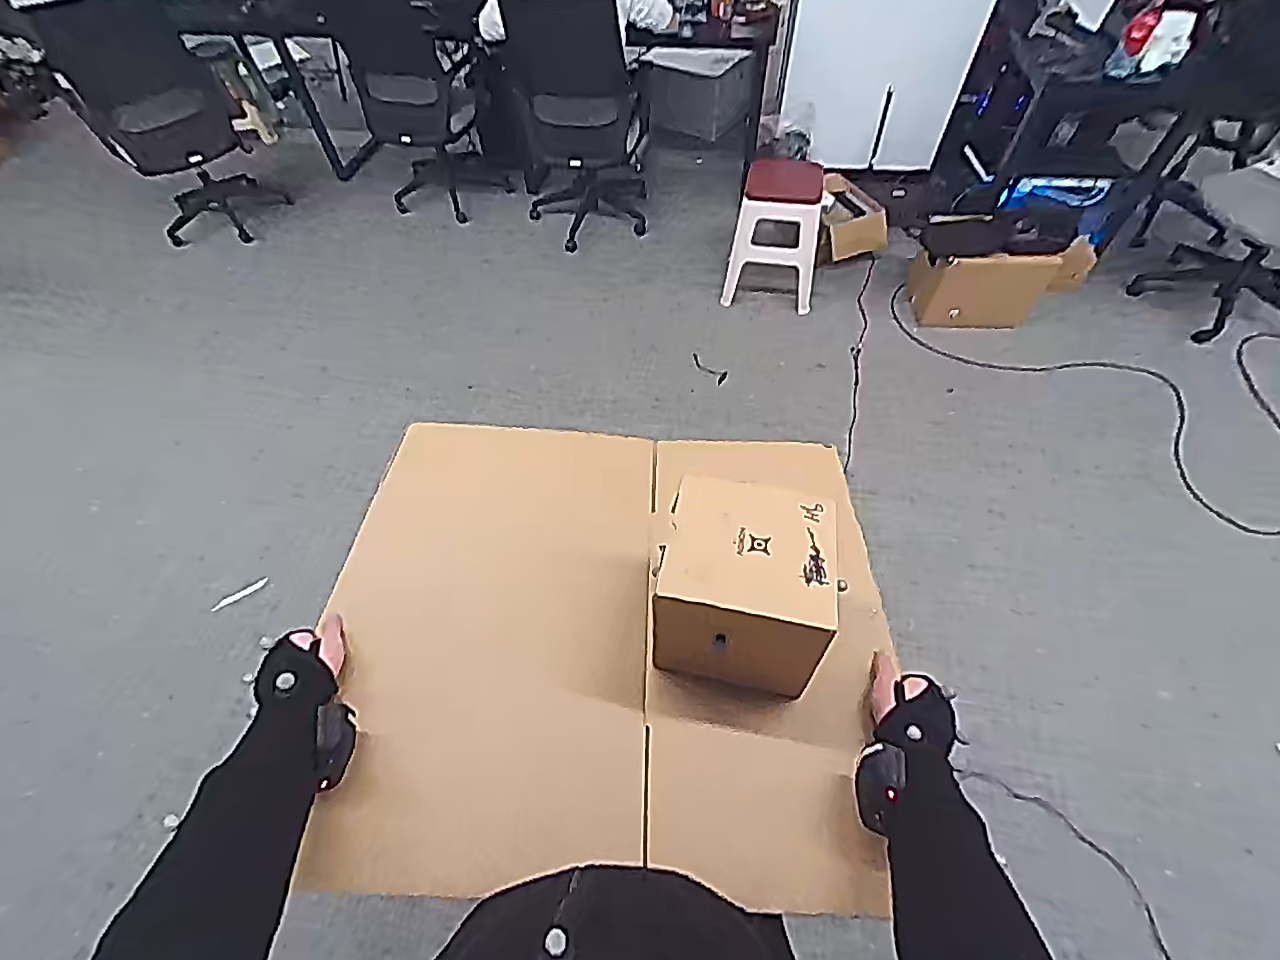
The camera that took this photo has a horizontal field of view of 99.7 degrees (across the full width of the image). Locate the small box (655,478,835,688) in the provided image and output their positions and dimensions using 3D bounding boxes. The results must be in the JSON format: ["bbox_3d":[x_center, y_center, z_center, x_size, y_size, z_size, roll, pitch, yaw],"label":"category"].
[{"bbox_3d":[0.119,0.122,0.630,0.179,0.176,0.168,8,49,10],"label":"small box"}]
